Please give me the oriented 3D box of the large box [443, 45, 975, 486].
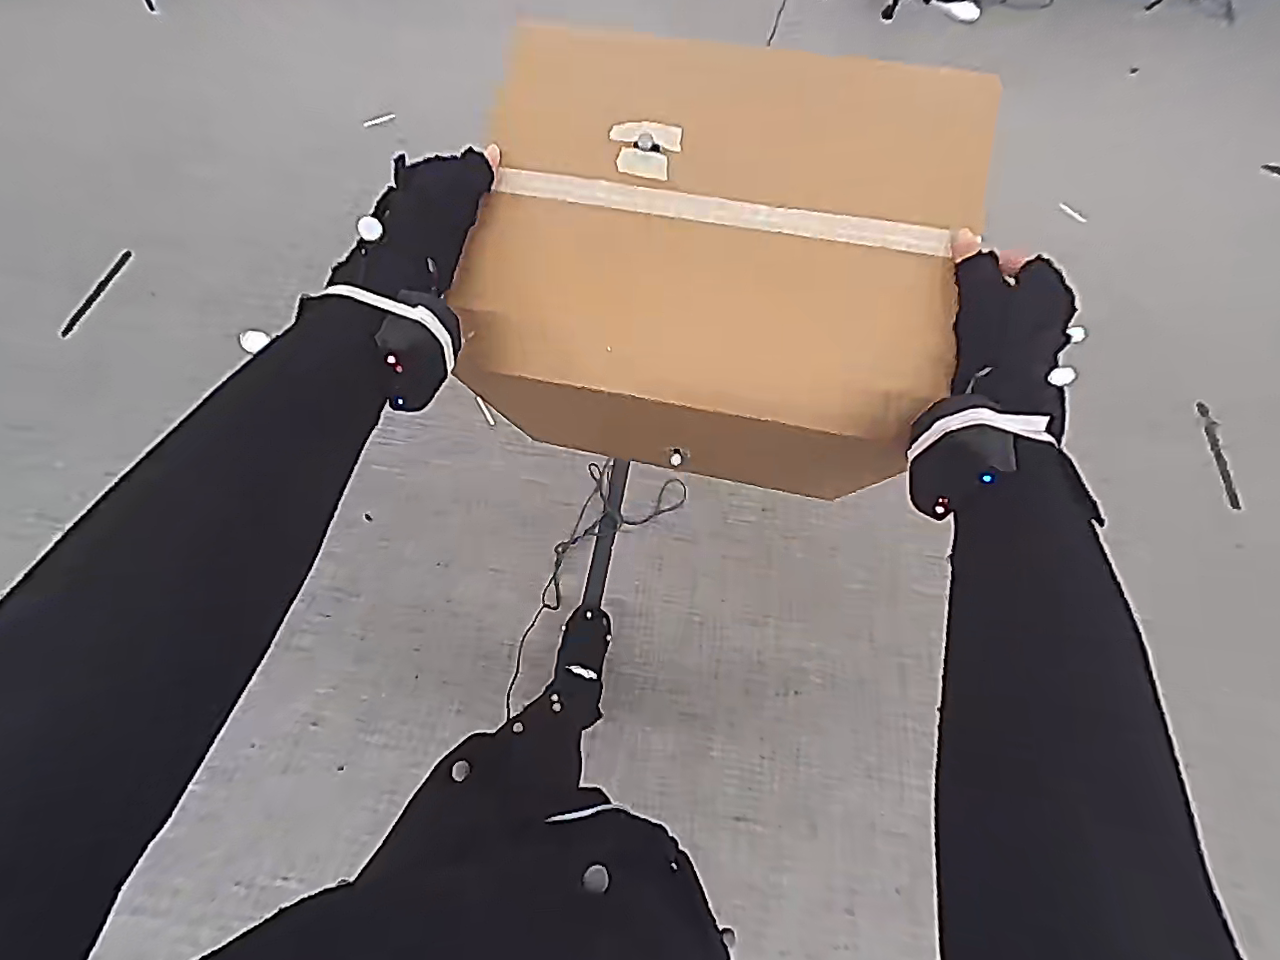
[{"bbox_3d":[0.070,-0.191,0.595,0.408,0.320,0.320,11,82,7],"label":"large box"}]
